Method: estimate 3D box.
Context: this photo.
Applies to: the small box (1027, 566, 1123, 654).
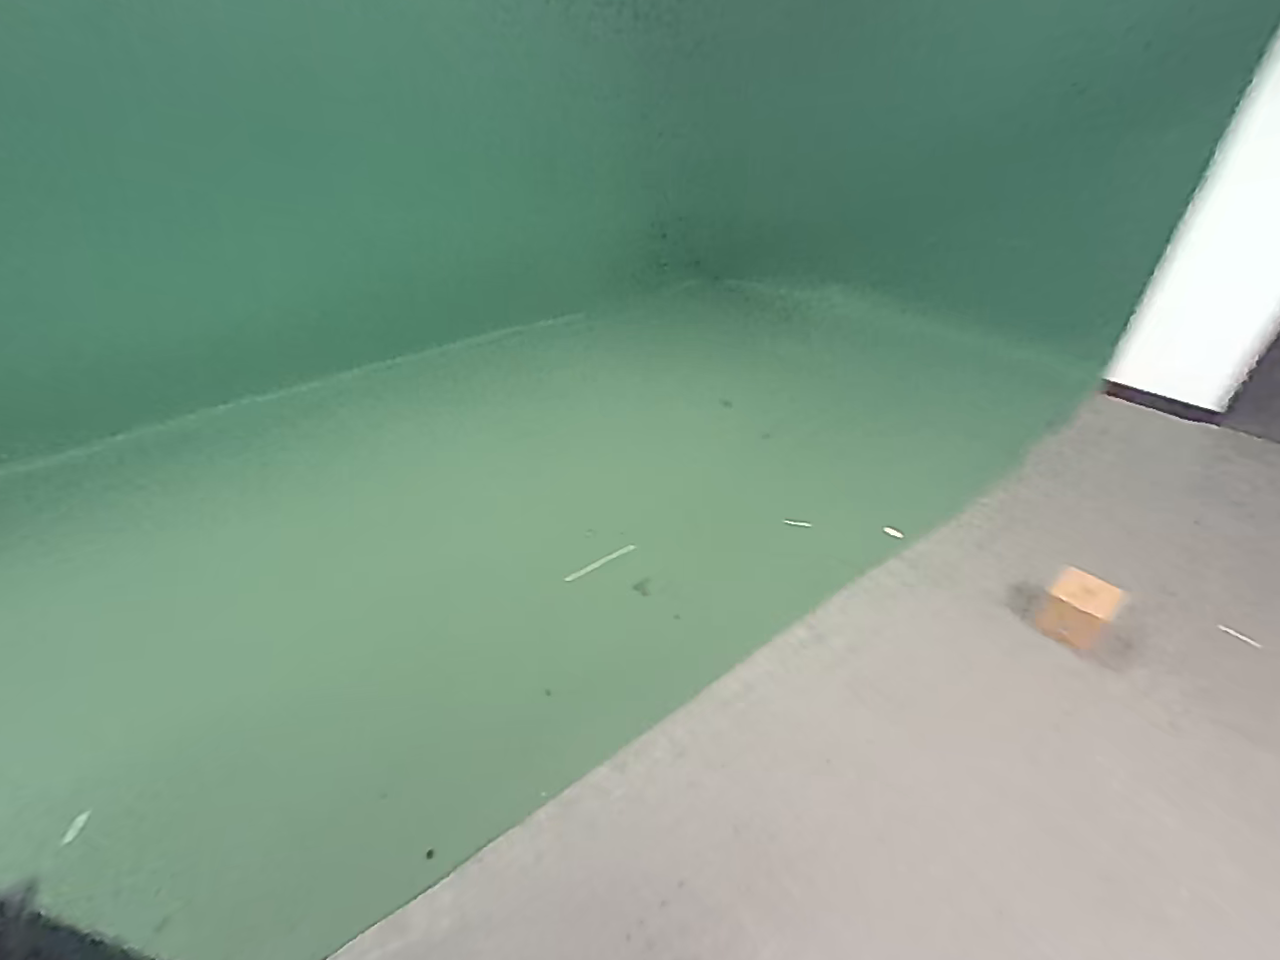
[{"bbox_3d":[1.383,0.414,1.728,0.179,0.176,0.168,-28,43,-30],"label":"small box"}]
